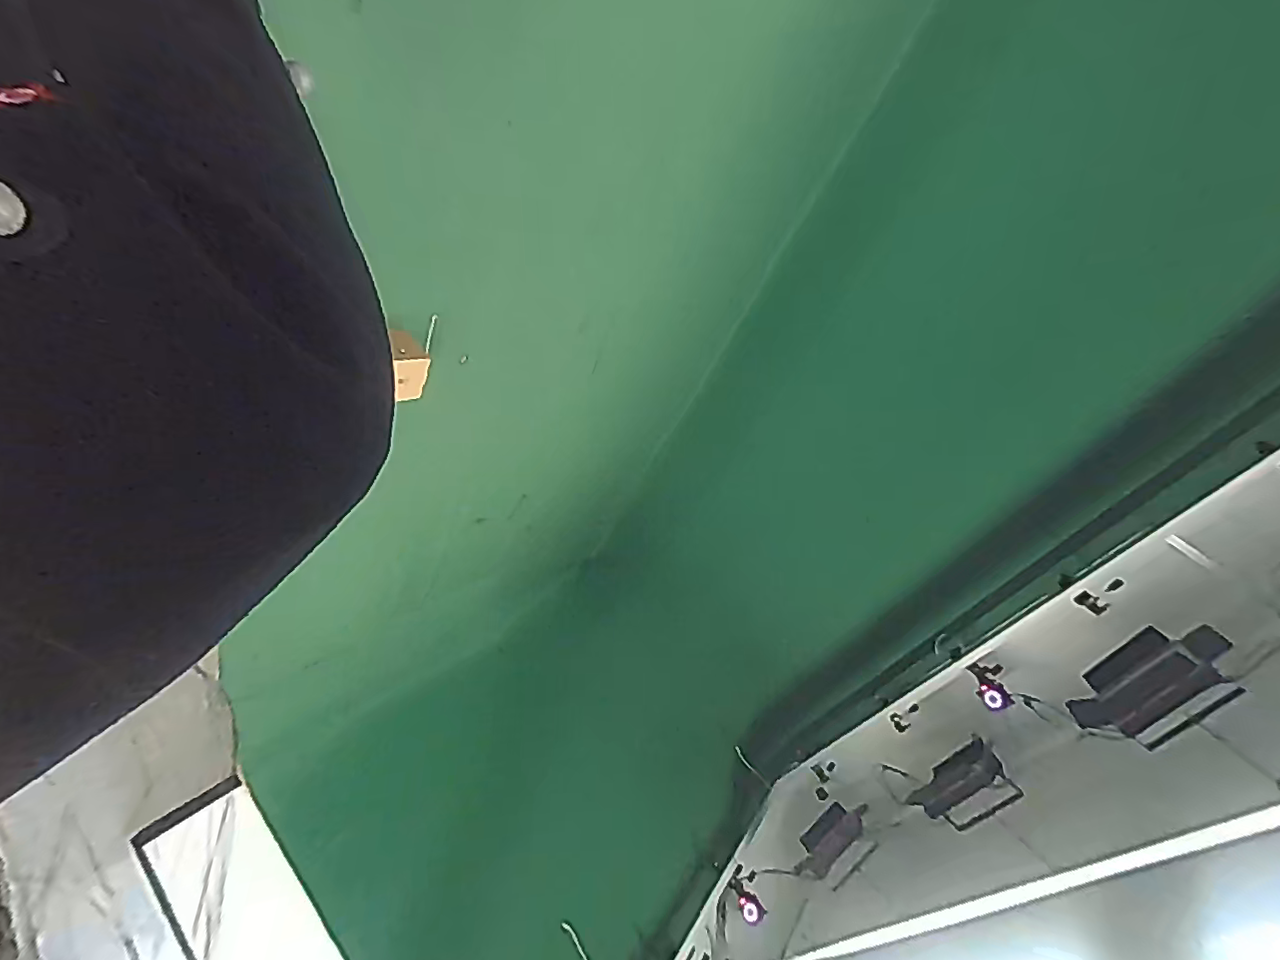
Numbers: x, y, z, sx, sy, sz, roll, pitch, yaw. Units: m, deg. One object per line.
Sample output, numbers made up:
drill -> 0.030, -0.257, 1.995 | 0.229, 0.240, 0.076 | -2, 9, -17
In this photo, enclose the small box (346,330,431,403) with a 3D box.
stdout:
small box -> -0.820, -0.375, 1.762 | 0.179, 0.176, 0.168 | -22, 149, -51
